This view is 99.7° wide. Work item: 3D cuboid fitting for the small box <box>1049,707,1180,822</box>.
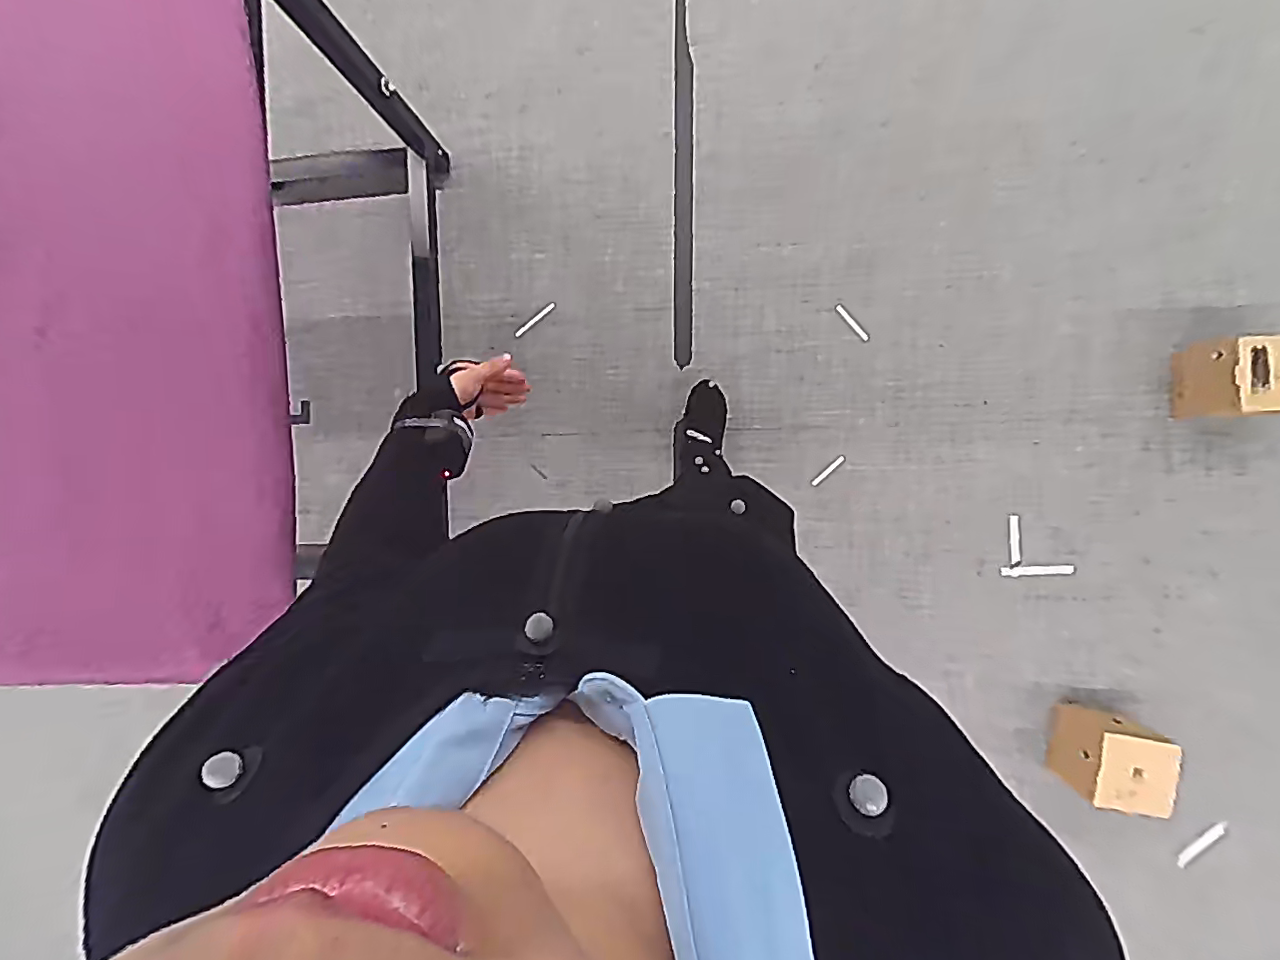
[{"bbox_3d":[1.133,0.675,1.306,0.168,0.176,0.179,9,92,6],"label":"small box"}]
